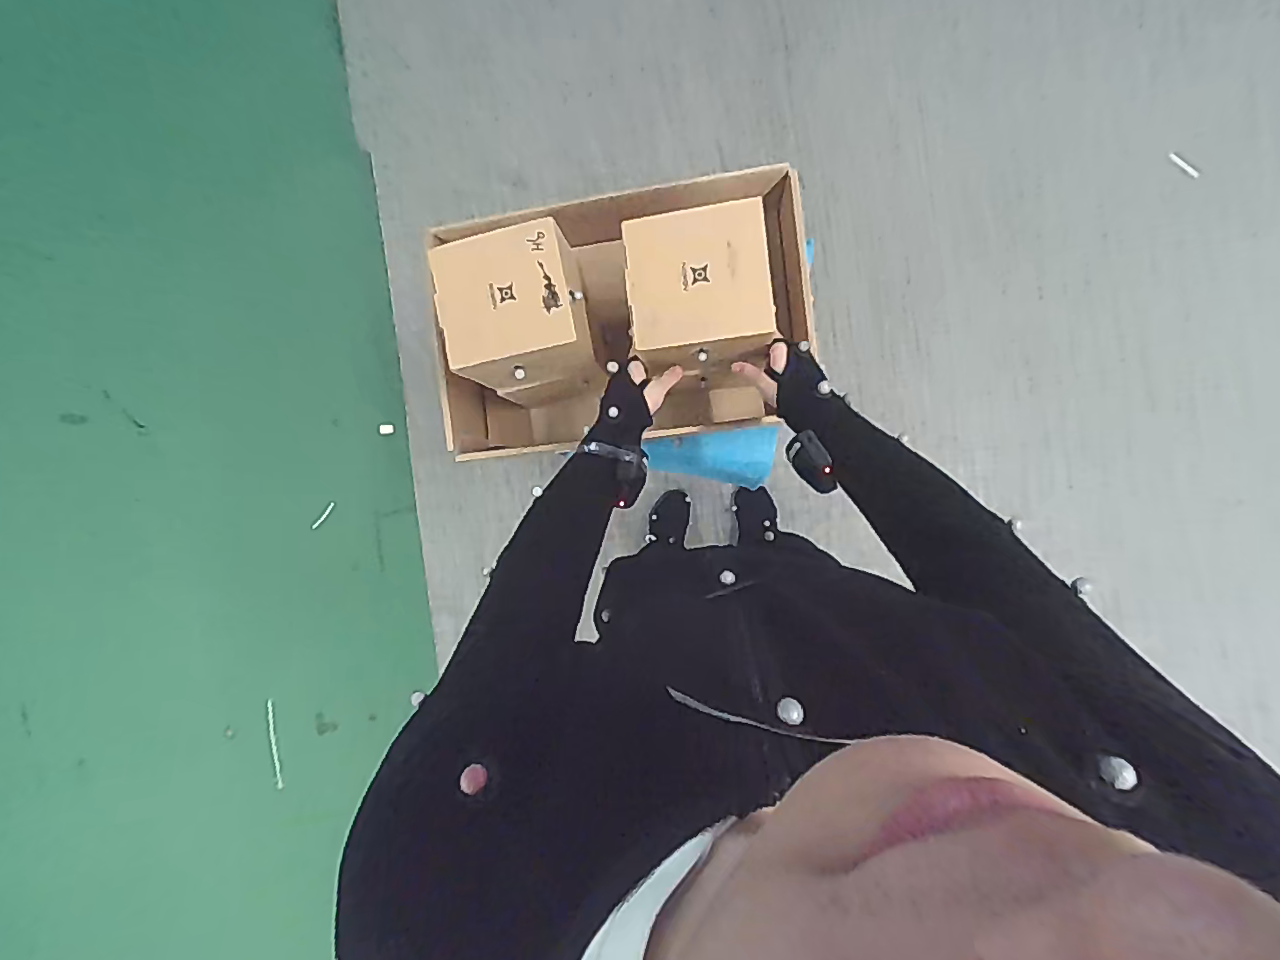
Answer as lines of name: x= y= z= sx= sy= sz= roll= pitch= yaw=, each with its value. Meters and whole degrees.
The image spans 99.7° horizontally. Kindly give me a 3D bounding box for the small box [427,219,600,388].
small box: x=-0.170 y=-0.237 z=0.774 sx=0.179 sy=0.176 sz=0.168 roll=-11 pitch=89 yaw=7
